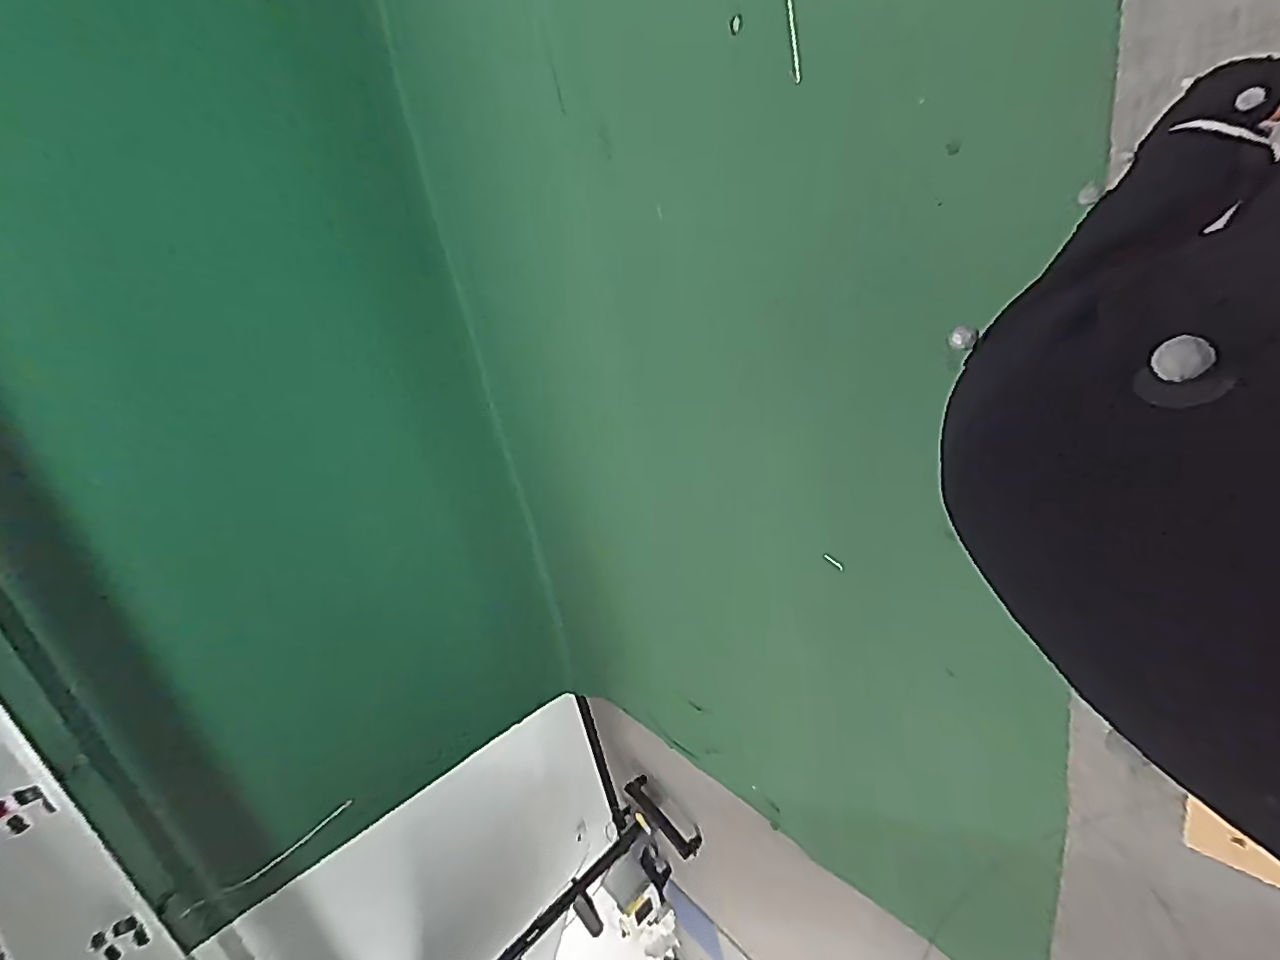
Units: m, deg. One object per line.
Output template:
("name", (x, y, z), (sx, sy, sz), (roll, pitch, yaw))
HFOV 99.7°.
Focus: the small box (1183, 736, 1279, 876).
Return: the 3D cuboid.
("small box", (1.343, 0.714, 1.202), (0.168, 0.176, 0.179), (10, 119, 51))
